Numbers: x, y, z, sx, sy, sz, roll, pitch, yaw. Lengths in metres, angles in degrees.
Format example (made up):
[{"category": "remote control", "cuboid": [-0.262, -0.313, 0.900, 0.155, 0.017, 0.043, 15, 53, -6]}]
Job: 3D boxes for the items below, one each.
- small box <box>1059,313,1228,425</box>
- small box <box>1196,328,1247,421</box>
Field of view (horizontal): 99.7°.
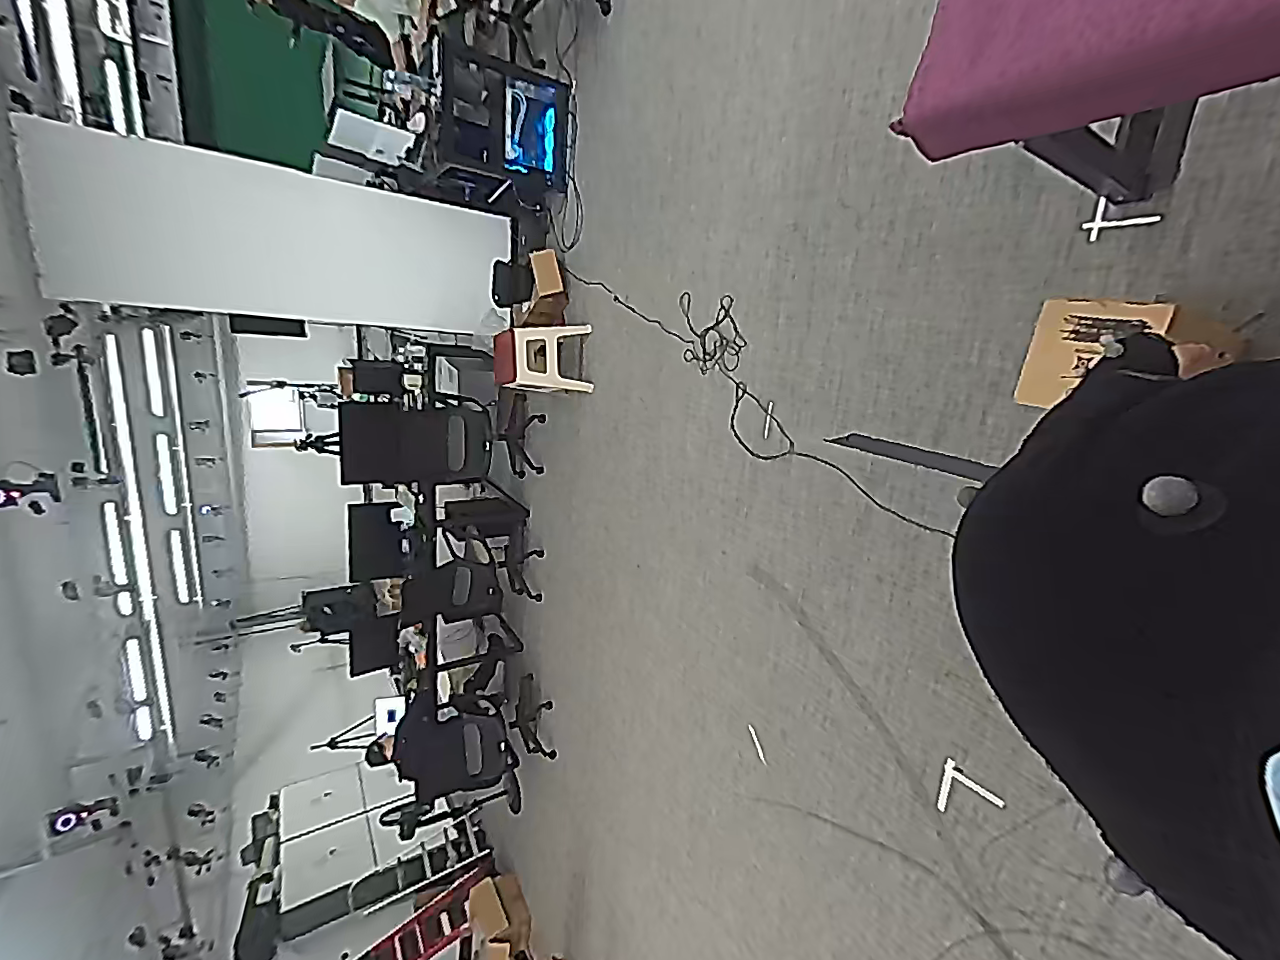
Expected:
[{"category": "small box", "cuboid": [0.904, -0.200, 0.972, 0.168, 0.176, 0.179, 27, 116, 53]}, {"category": "small box", "cuboid": [1.037, -0.217, 1.068, 0.168, 0.176, 0.179, 34, 121, 50]}]
